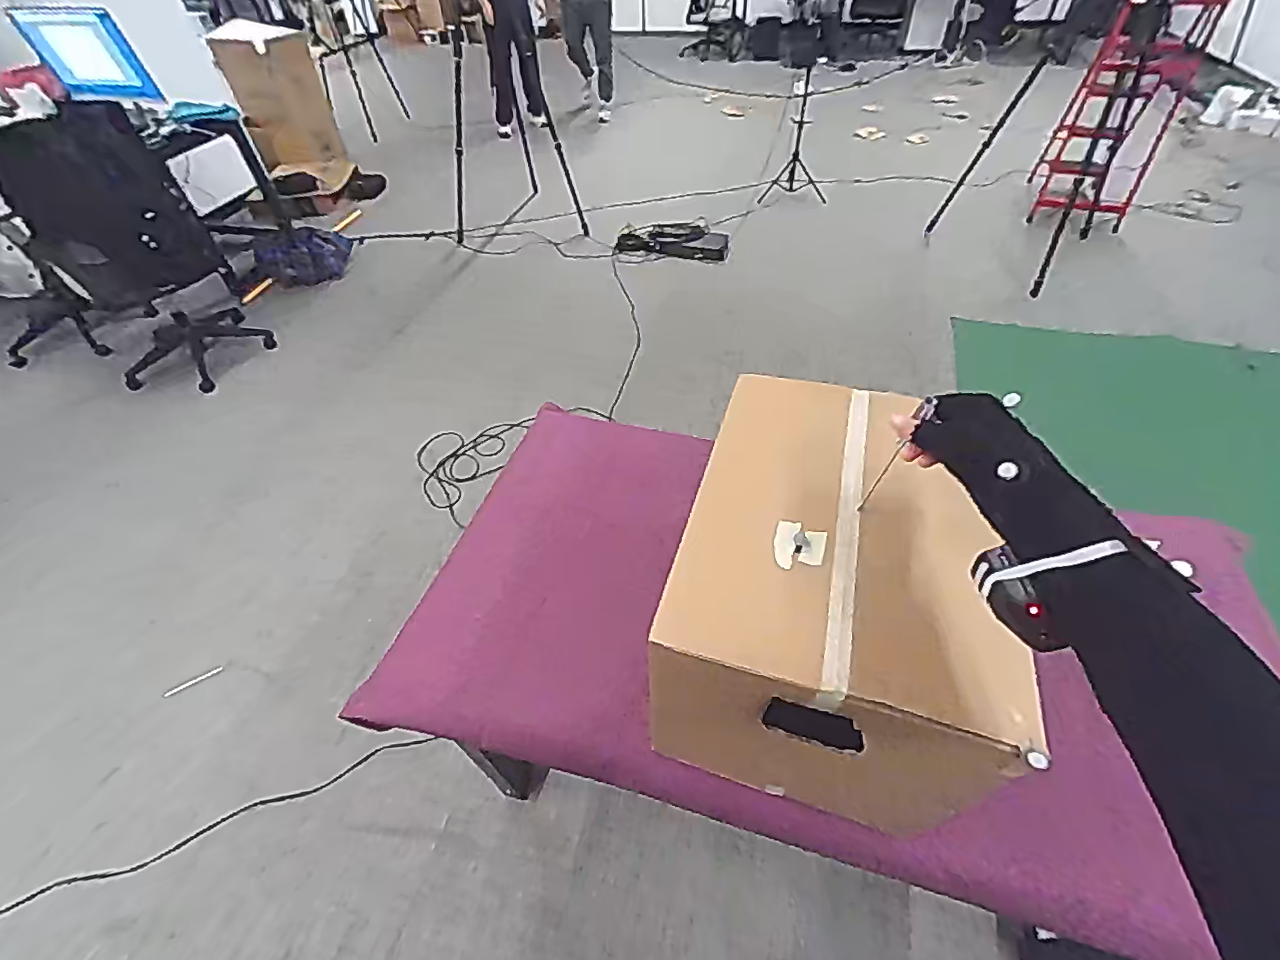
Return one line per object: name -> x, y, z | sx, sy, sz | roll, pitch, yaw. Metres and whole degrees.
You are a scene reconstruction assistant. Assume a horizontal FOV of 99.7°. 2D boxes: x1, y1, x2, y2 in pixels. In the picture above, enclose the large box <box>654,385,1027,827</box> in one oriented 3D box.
large box -> 0.219, 0.142, 0.688 | 0.320, 0.320, 0.408 | 13, 50, 14
